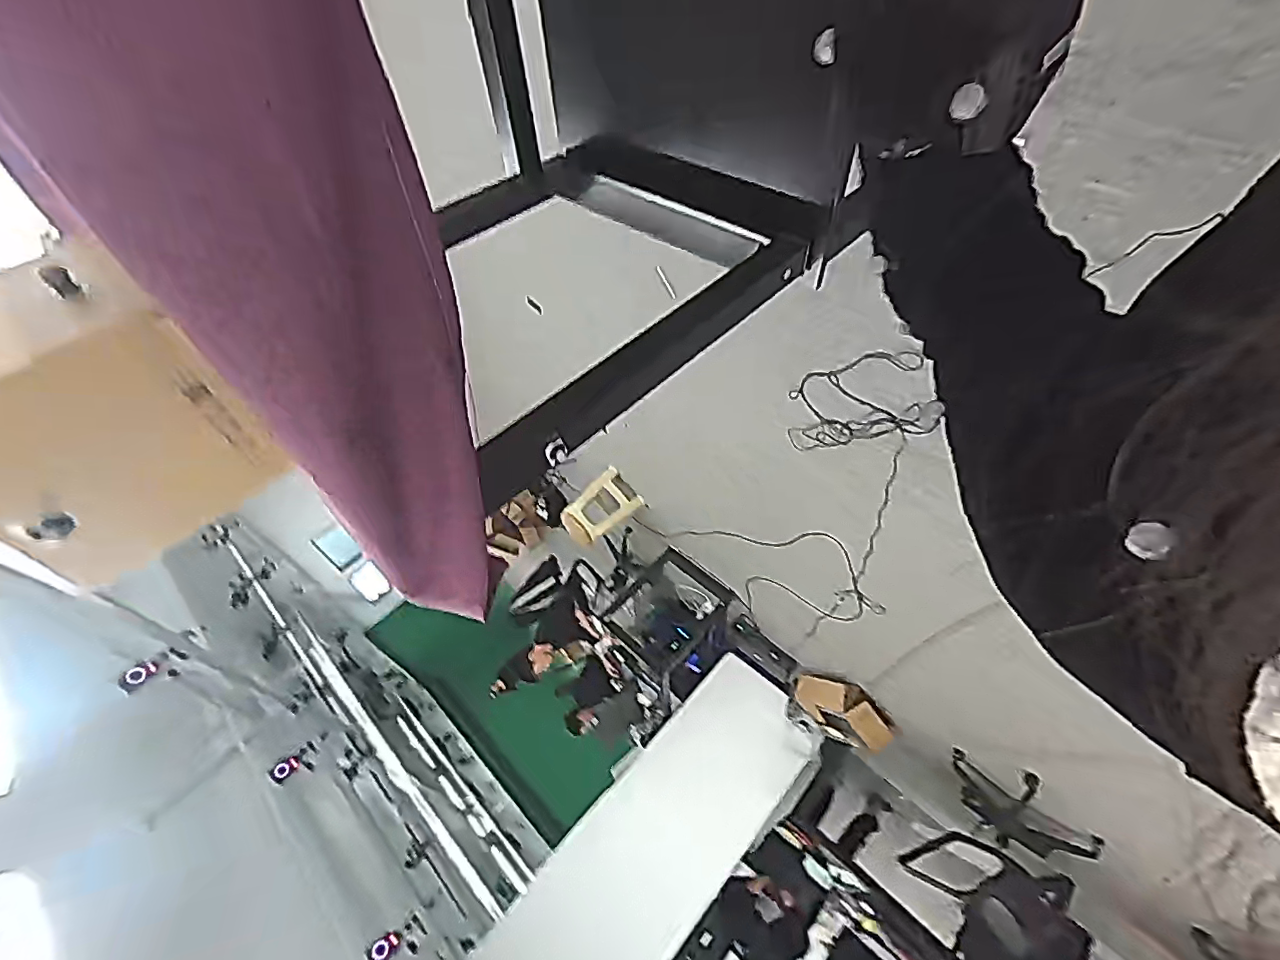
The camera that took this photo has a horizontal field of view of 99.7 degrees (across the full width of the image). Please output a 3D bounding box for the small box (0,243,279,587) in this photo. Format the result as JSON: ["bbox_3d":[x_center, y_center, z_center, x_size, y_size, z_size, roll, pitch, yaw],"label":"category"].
[{"bbox_3d":[-0.428,-0.059,0.420,0.179,0.176,0.168,36,152,28],"label":"small box"}]
